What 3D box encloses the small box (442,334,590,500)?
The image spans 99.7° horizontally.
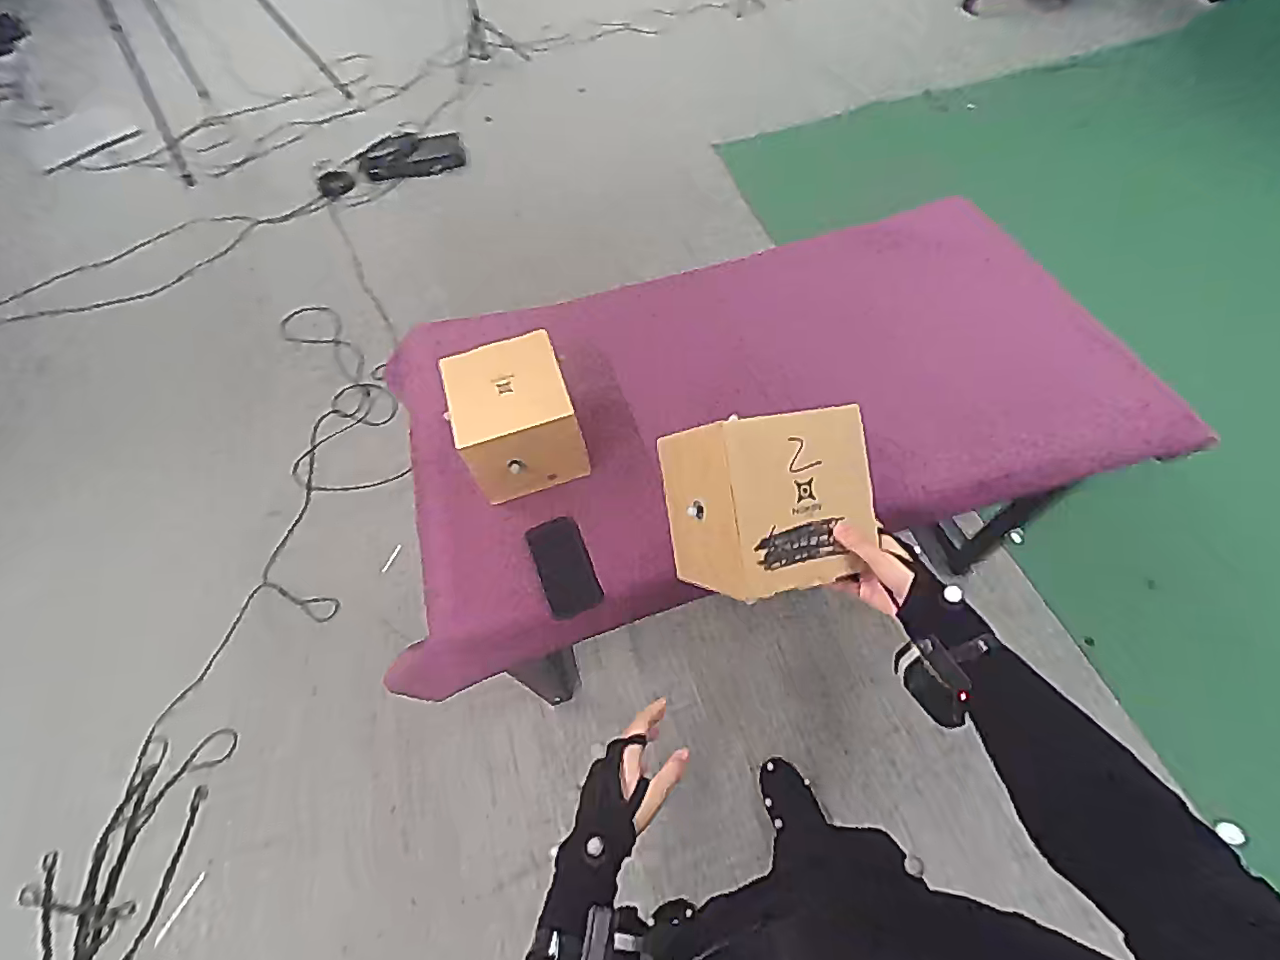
[{"bbox_3d":[-0.185,-0.087,0.836,0.168,0.176,0.179,-18,58,-6],"label":"small box"}]
